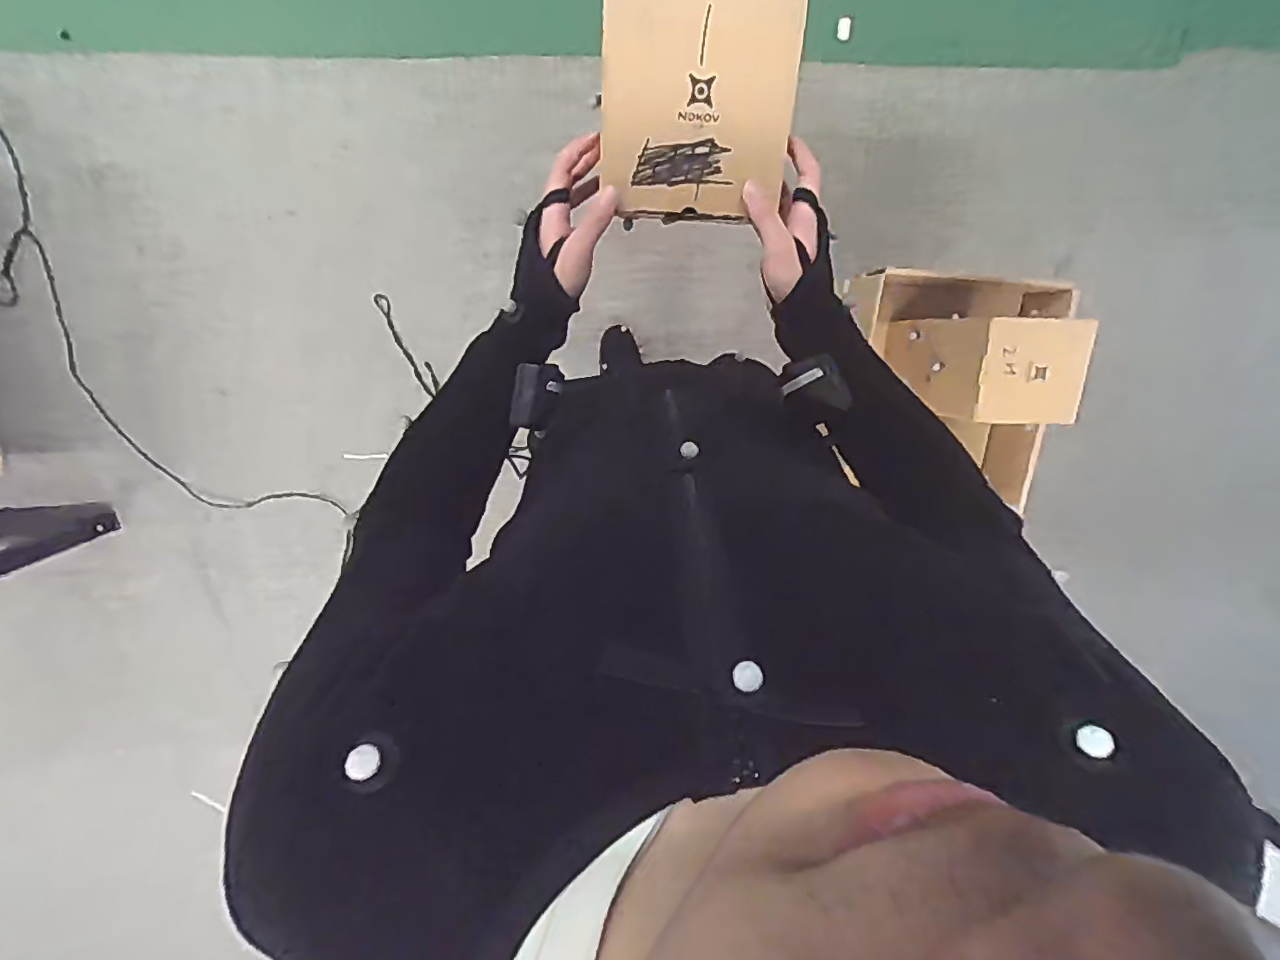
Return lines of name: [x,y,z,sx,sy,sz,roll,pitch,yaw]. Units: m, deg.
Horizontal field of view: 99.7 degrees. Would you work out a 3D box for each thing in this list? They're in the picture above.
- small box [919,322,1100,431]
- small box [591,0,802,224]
small box: [0.620,-0.182,0.928,0.179,0.176,0.168,1,104,-3]
small box: [0.039,-0.350,0.525,0.168,0.176,0.179,1,113,-5]
